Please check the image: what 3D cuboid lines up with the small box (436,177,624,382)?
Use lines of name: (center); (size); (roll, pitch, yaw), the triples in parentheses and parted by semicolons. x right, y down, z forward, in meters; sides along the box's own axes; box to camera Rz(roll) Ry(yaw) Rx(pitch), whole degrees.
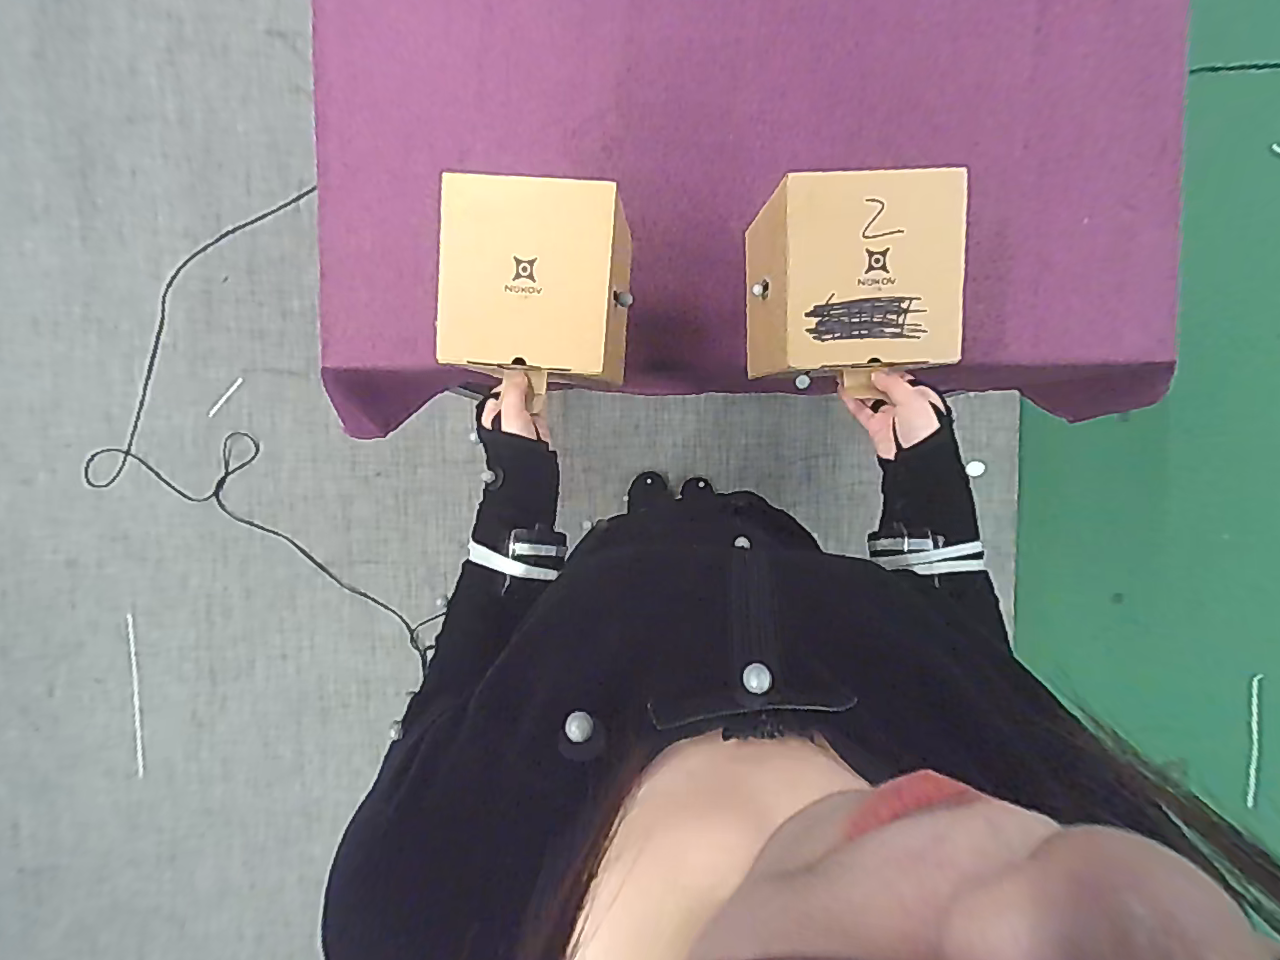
small box: (-0.110, -0.206, 0.601); (0.168, 0.176, 0.179); (5, 98, 3)
